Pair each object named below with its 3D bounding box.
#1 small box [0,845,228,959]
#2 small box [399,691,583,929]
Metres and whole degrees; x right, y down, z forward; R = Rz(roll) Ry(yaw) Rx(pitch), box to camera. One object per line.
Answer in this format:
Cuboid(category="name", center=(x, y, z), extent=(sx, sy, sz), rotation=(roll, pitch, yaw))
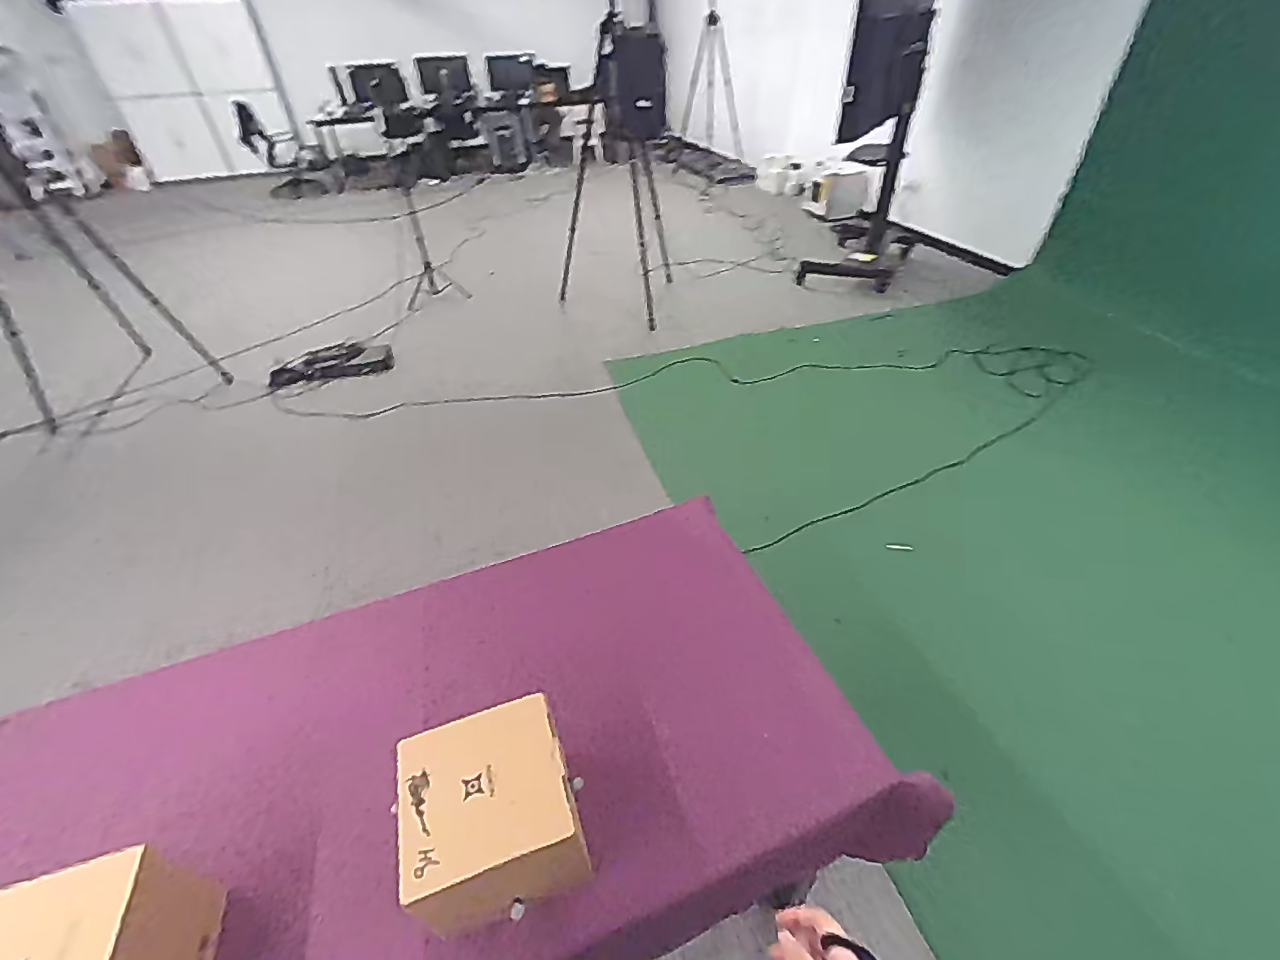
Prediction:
Cuboid(category="small box", center=(-0.561, 0.505, 0.533), extent=(0.179, 0.176, 0.168), rotation=(-13, 42, -13))
Cuboid(category="small box", center=(-0.171, 0.390, 0.645), extent=(0.179, 0.176, 0.168), rotation=(-15, 42, -14))
